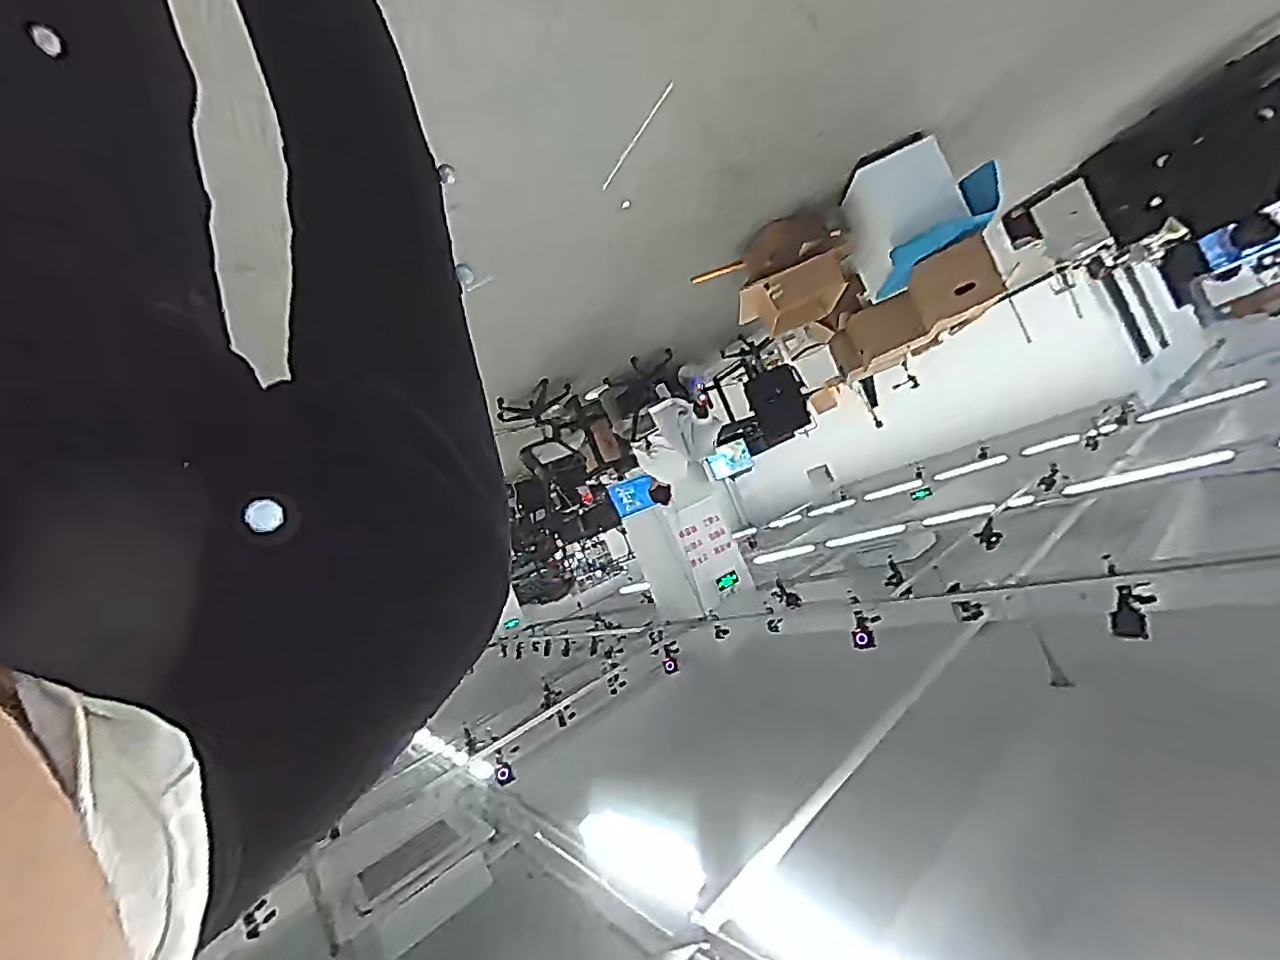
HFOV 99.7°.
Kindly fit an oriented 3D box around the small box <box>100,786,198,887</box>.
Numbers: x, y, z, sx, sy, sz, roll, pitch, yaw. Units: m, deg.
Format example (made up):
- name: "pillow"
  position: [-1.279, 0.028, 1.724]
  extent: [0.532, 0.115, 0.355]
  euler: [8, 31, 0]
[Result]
- name: "small box"
  position: [-1.482, 1.064, 1.633]
  extent: [0.179, 0.176, 0.168]
  euler: [-21, 177, -35]
